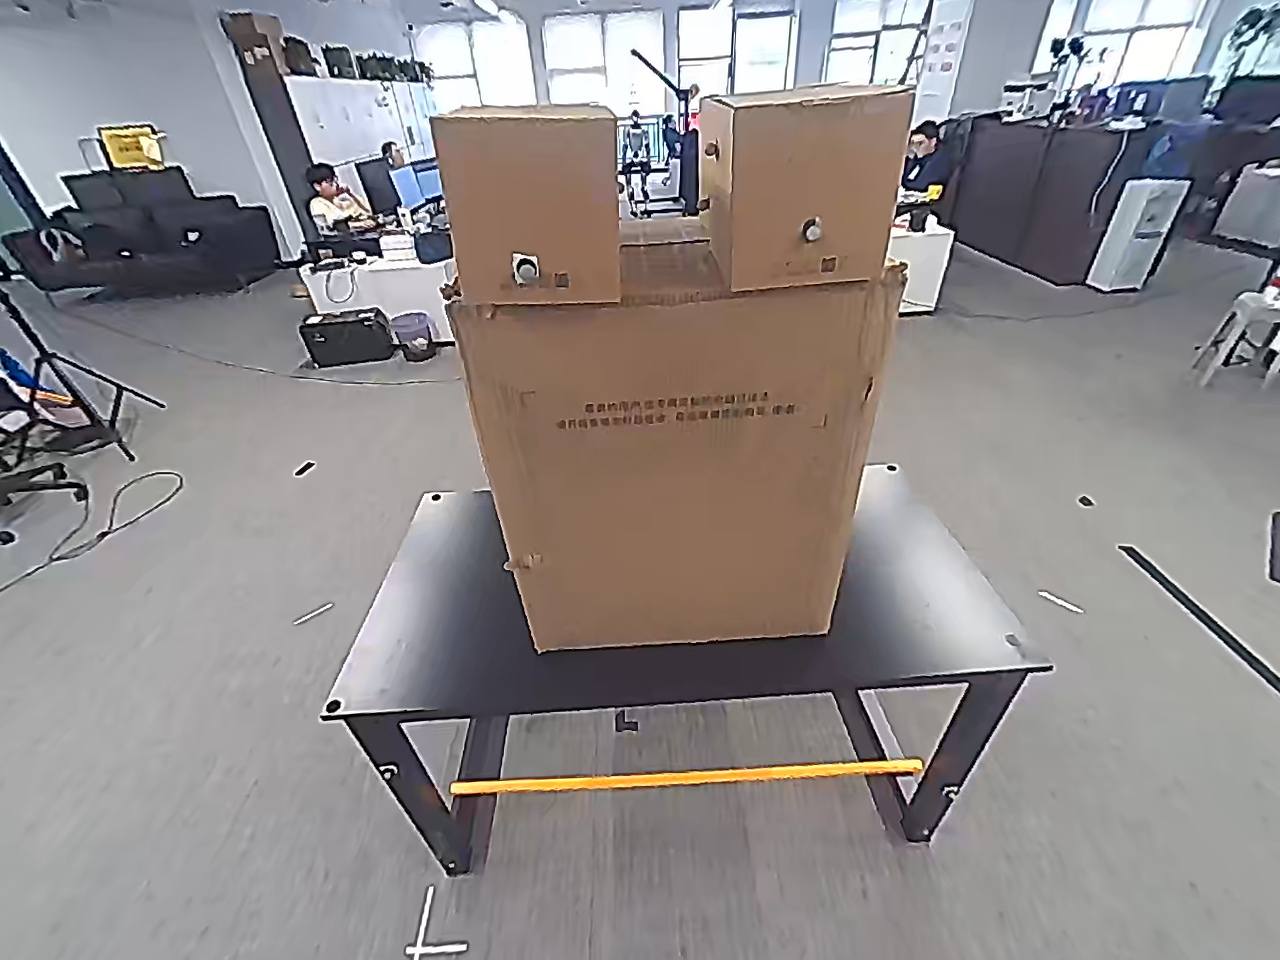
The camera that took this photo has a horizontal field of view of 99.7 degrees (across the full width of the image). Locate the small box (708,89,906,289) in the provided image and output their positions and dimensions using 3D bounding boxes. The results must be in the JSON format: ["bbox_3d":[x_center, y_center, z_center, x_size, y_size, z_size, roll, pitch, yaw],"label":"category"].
[{"bbox_3d":[0.166,-0.327,0.606,0.168,0.176,0.179,-5,38,2],"label":"small box"}]
